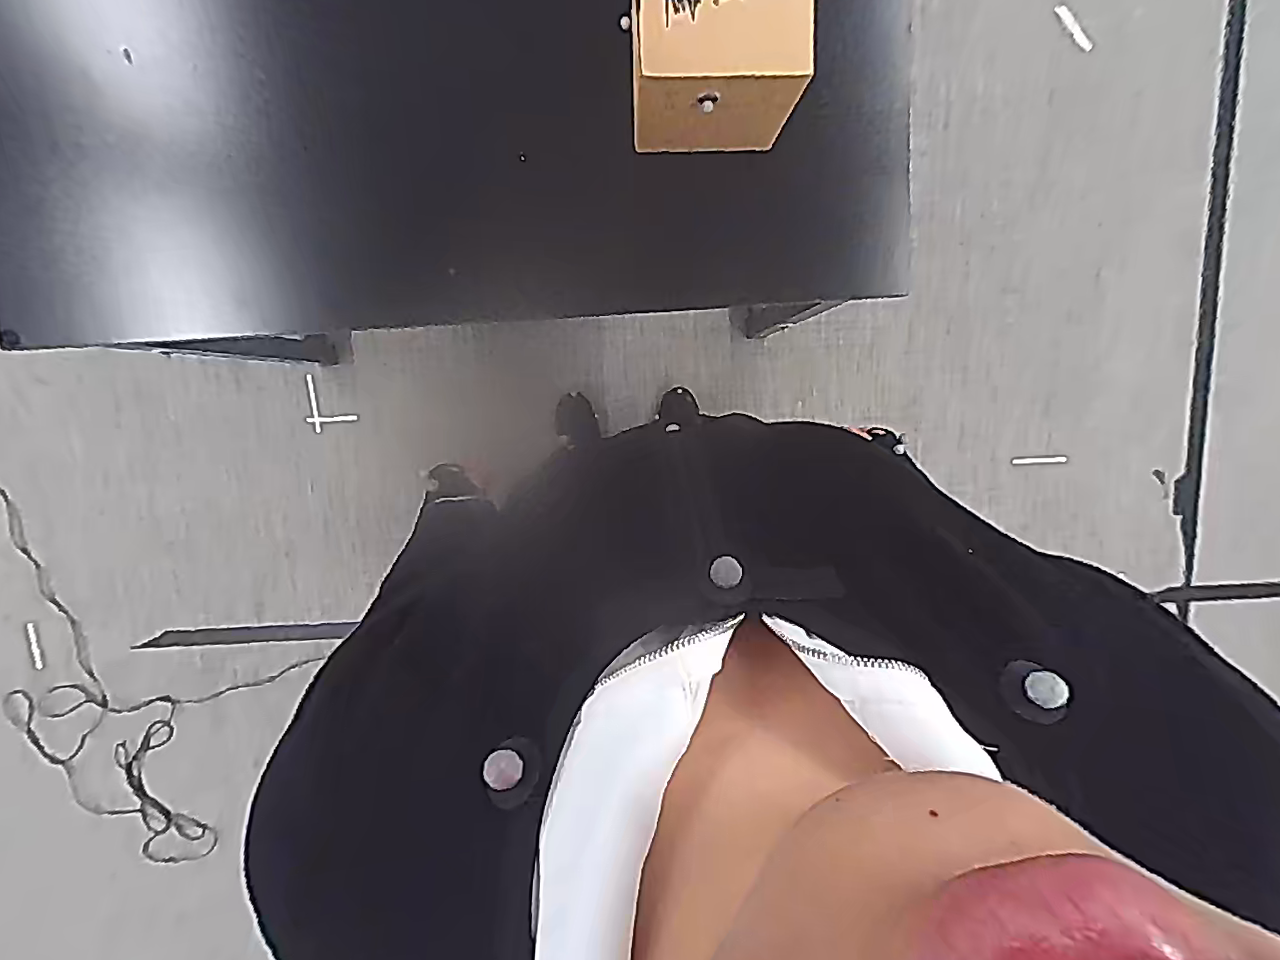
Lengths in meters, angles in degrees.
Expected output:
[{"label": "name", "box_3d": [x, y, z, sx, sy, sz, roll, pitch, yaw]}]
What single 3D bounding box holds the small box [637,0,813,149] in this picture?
[{"label": "small box", "box_3d": [0.084, -0.499, 0.614, 0.179, 0.176, 0.168, -2, 99, -2]}]
